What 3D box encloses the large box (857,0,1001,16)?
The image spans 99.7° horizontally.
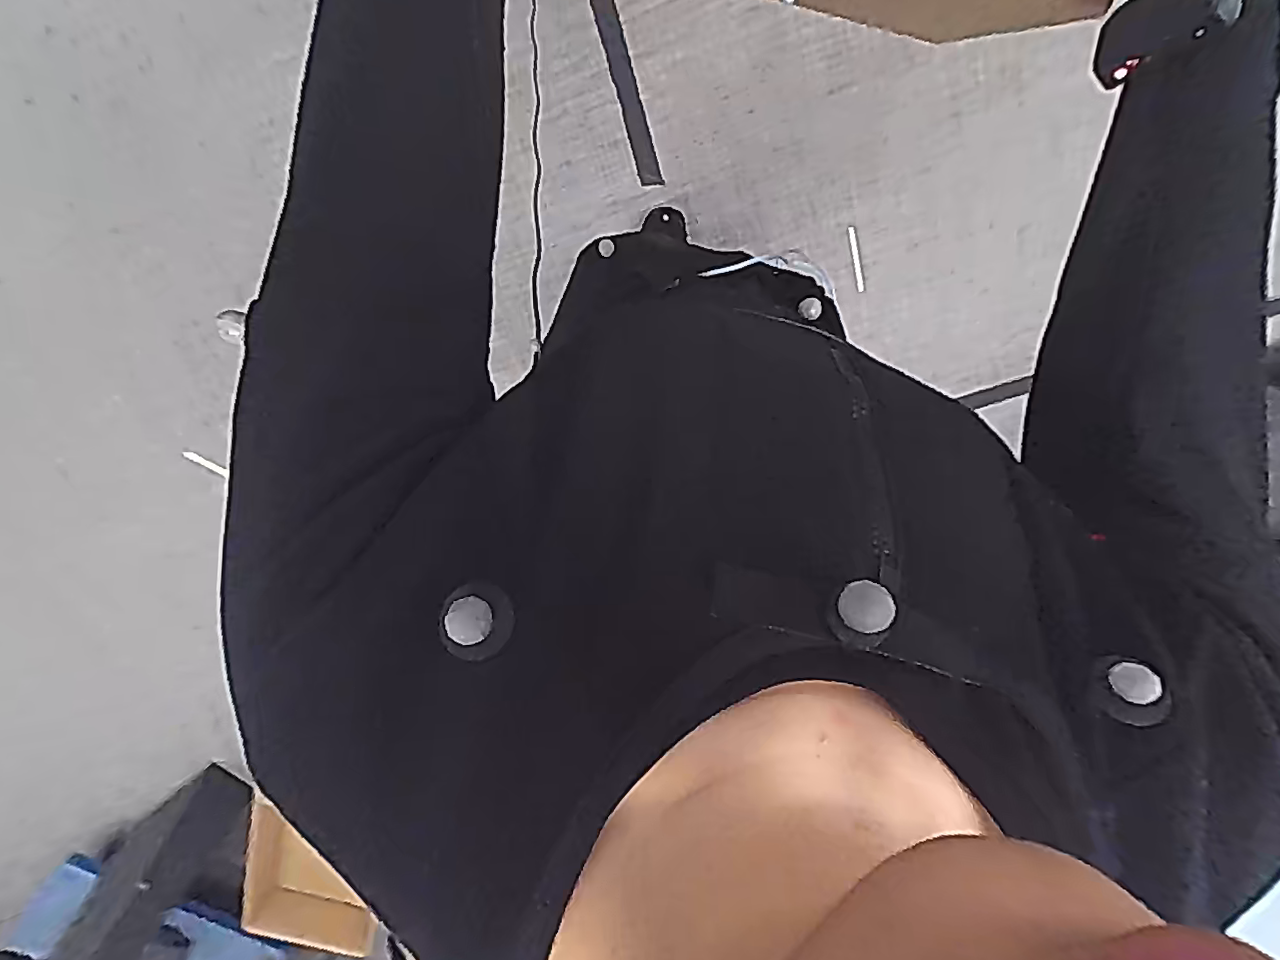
[{"bbox_3d":[0.157,-0.574,0.379,0.408,0.320,0.320,11,126,-4],"label":"large box"}]
